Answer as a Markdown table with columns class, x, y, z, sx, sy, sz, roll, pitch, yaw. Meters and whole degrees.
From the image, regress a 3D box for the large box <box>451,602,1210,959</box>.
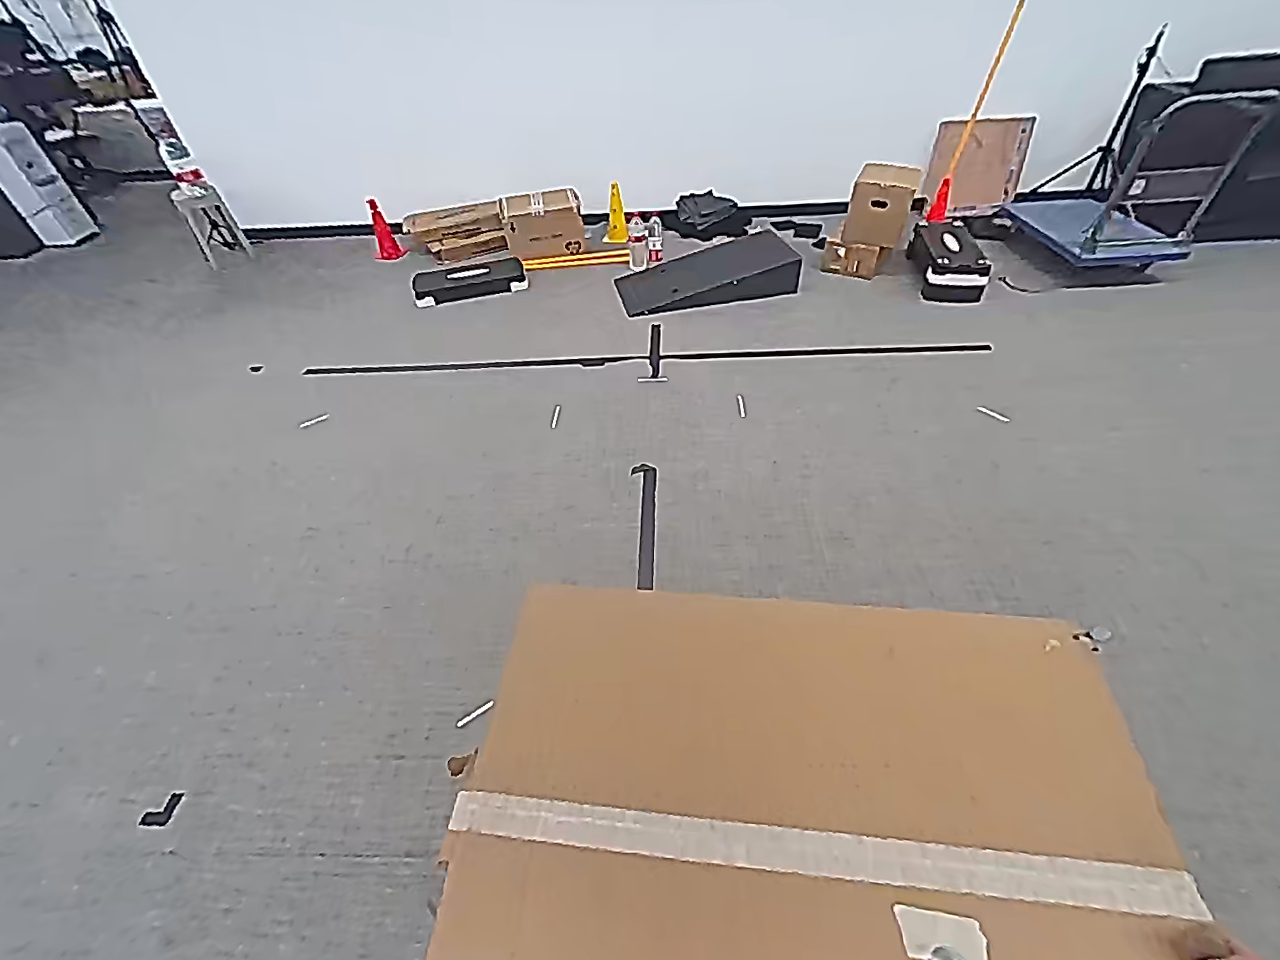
| class | x | y | z | sx | sy | sz | roll | pitch | yaw |
| --- | --- | --- | --- | --- | --- | --- | --- | --- | --- |
| large box | 0.105 | 0.315 | 0.429 | 0.408 | 0.320 | 0.320 | 3 | 51 | 6 |
